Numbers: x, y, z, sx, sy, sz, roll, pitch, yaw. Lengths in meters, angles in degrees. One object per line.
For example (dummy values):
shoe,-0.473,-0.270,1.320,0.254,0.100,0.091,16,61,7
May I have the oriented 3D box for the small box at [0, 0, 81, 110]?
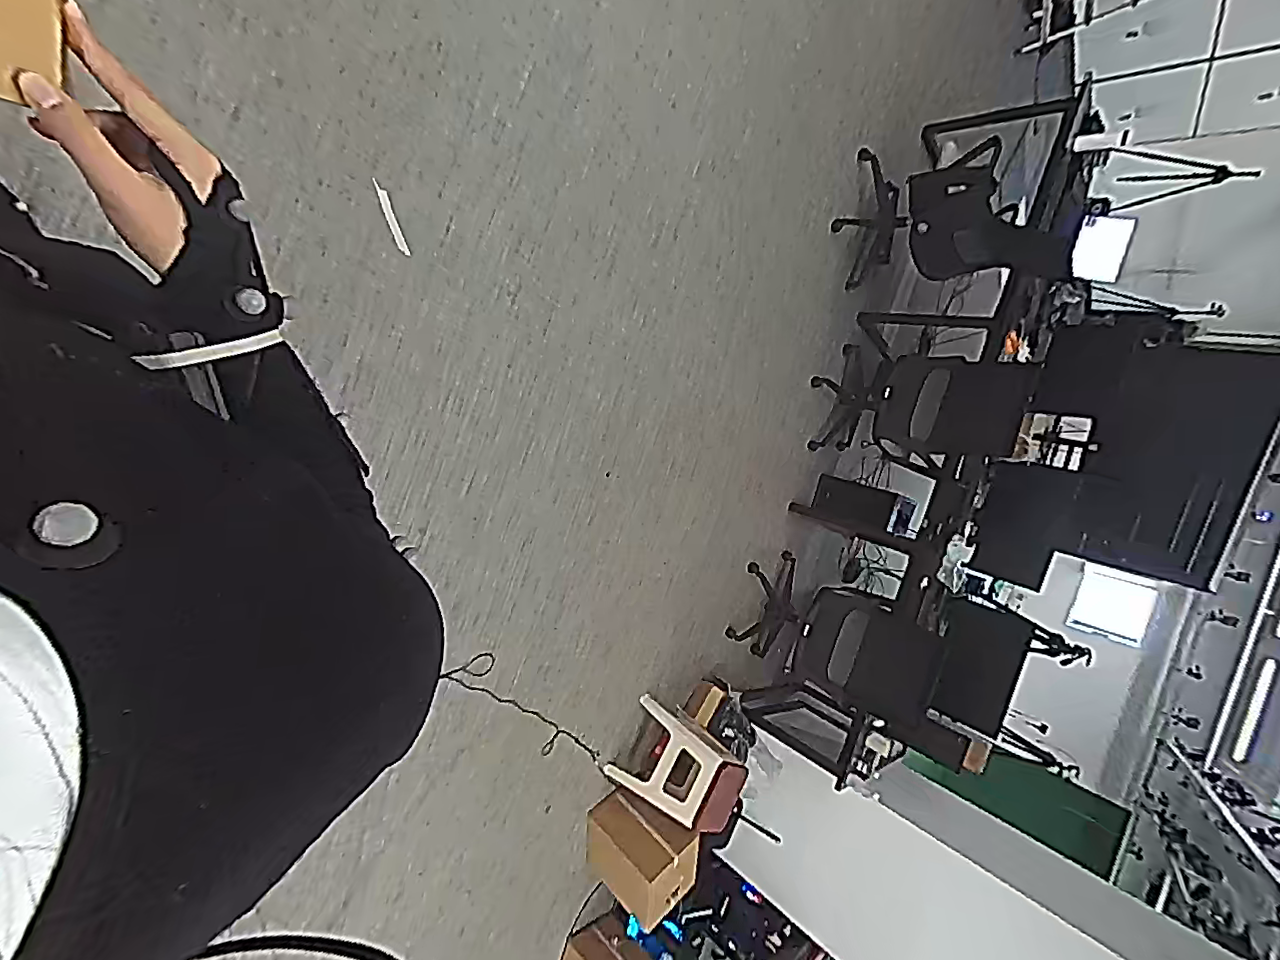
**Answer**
small box,-0.370,-0.299,0.241,0.168,0.176,0.179,-1,116,-46
